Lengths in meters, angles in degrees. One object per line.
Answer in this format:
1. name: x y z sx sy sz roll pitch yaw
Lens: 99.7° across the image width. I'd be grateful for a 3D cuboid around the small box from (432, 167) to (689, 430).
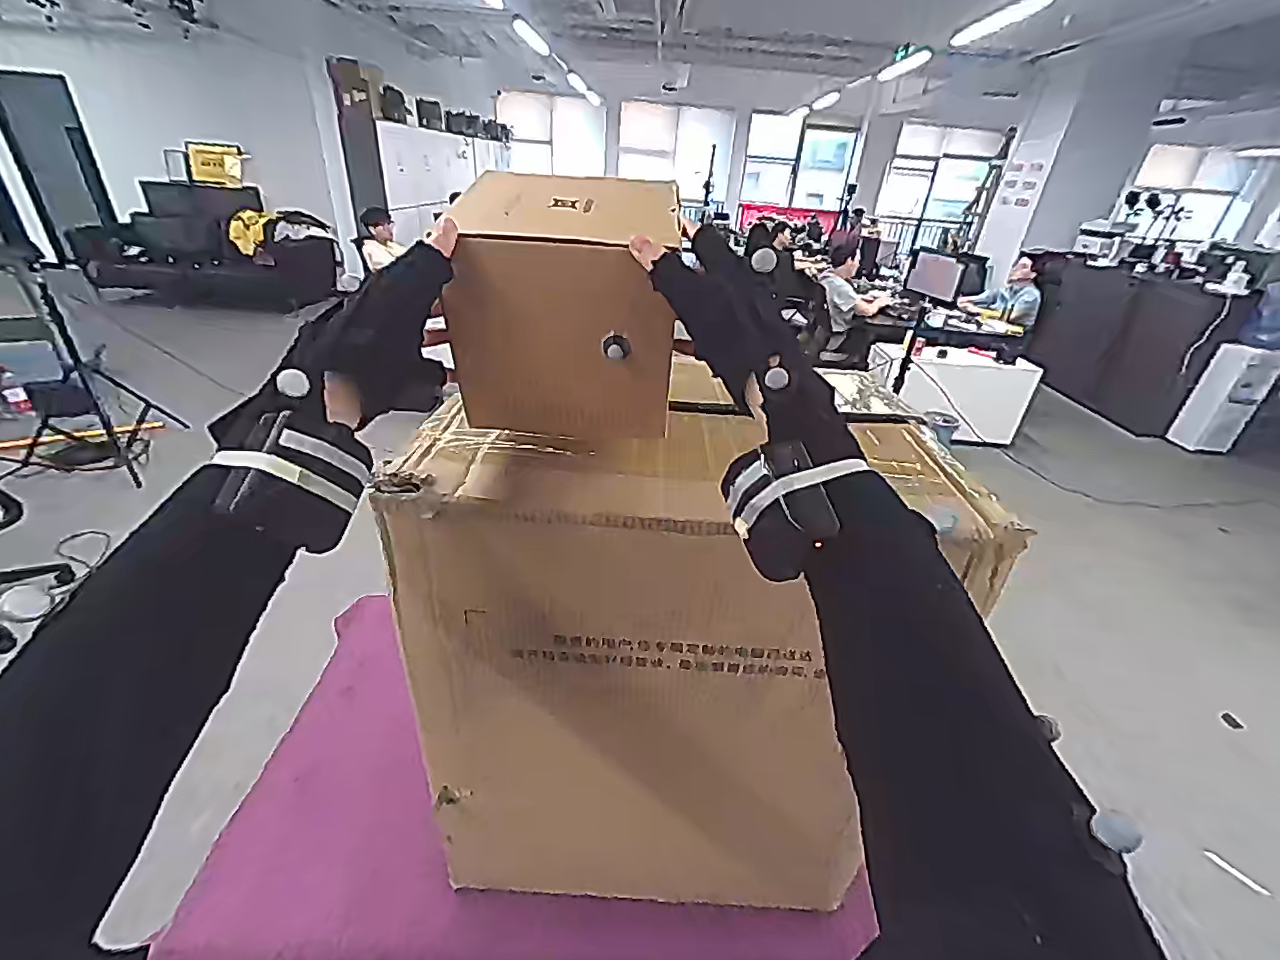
1. small box: -0.054 -0.157 0.475 0.179 0.176 0.168 2 42 0
